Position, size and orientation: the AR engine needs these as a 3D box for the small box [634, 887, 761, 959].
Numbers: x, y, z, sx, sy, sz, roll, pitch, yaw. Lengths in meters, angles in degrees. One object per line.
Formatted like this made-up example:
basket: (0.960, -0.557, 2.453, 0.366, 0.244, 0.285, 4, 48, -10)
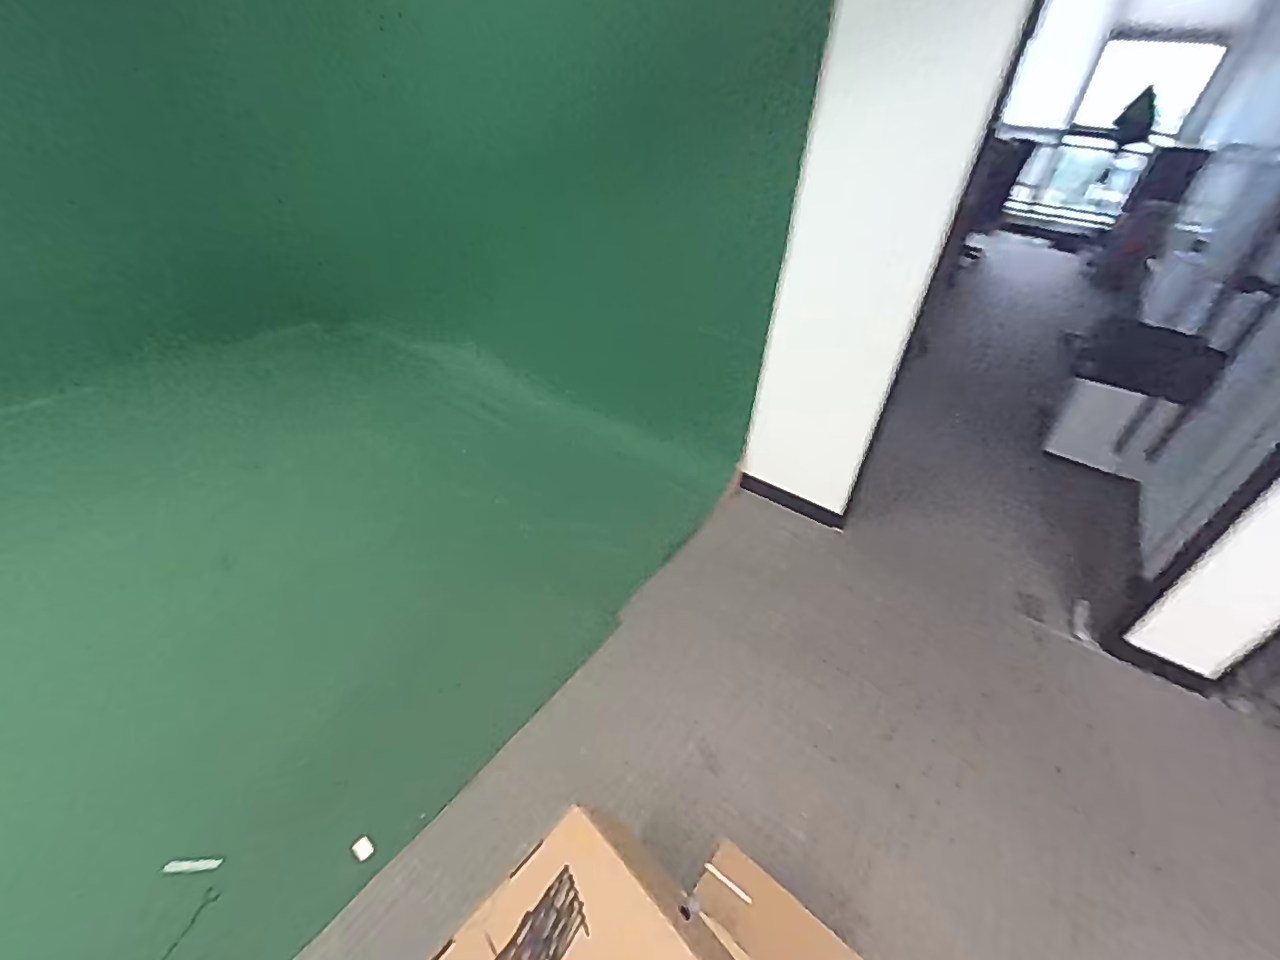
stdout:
small box: (0.072, 0.795, 0.834, 0.168, 0.176, 0.179, 28, 42, 29)
